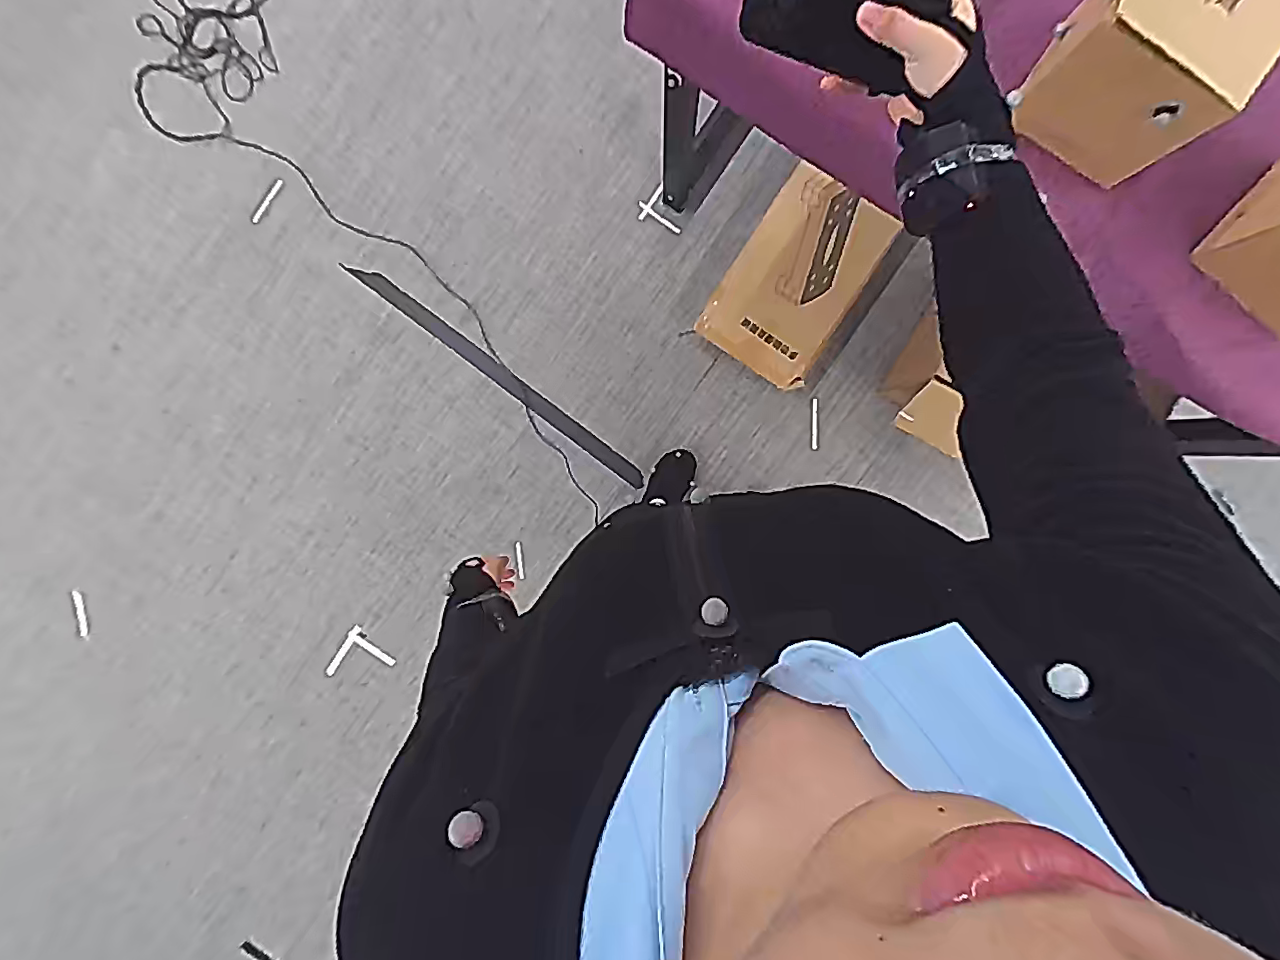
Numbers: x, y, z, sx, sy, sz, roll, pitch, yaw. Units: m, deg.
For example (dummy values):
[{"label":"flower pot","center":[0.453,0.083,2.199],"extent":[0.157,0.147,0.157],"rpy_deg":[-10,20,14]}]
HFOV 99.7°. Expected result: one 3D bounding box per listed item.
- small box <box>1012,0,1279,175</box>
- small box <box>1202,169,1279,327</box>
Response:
[{"label":"small box","center":[0.600,-0.498,0.632],"extent":[0.179,0.176,0.168],"rpy_deg":[34,92,0]},{"label":"small box","center":[0.849,-0.301,0.636],"extent":[0.179,0.176,0.168],"rpy_deg":[41,94,-1]}]
